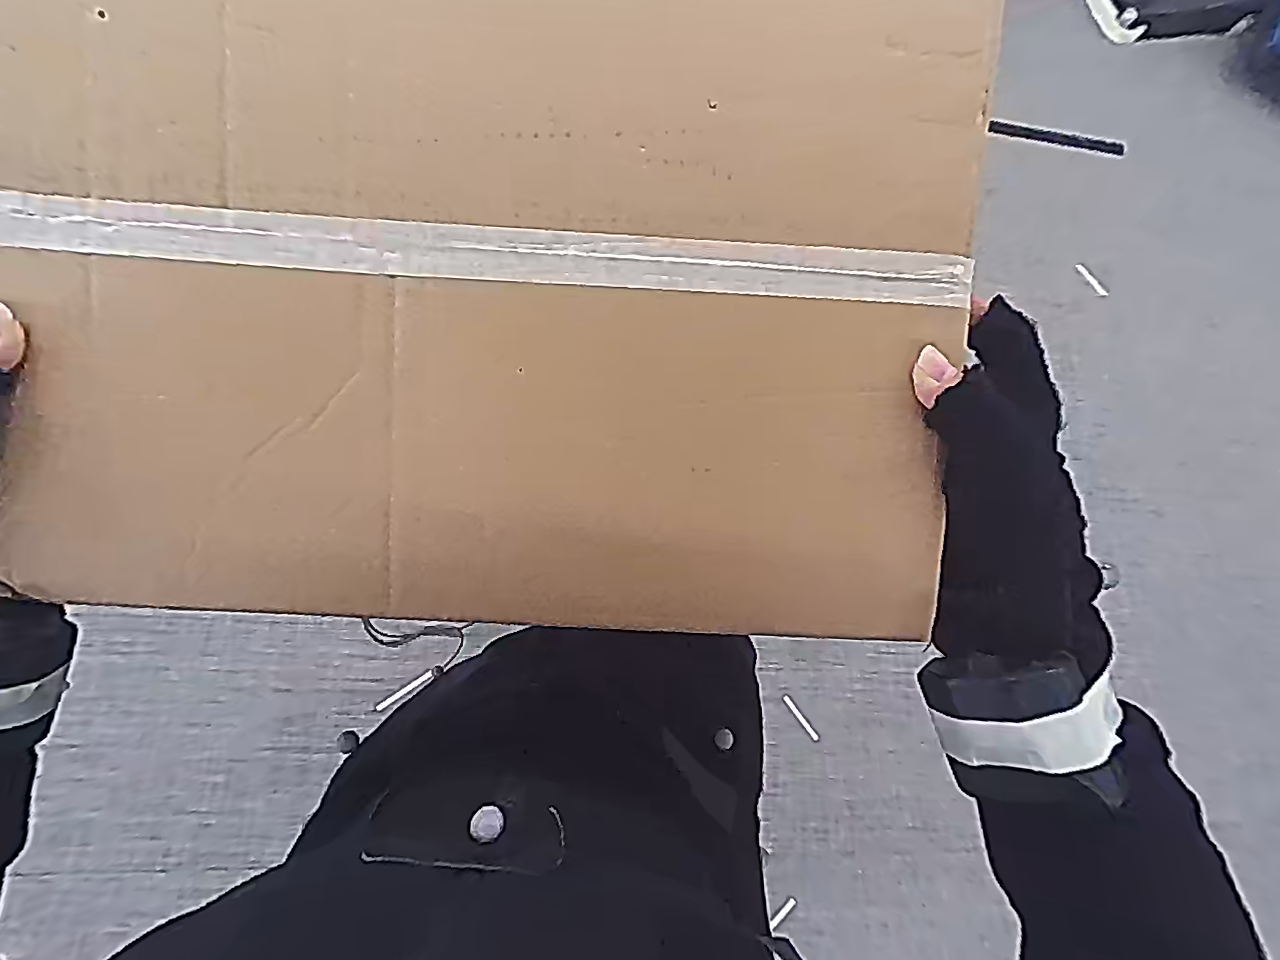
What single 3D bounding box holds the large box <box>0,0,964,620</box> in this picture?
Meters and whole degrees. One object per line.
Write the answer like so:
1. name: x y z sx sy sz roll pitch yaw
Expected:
1. large box: -0.070 -0.110 0.384 0.408 0.320 0.320 4 95 -3
